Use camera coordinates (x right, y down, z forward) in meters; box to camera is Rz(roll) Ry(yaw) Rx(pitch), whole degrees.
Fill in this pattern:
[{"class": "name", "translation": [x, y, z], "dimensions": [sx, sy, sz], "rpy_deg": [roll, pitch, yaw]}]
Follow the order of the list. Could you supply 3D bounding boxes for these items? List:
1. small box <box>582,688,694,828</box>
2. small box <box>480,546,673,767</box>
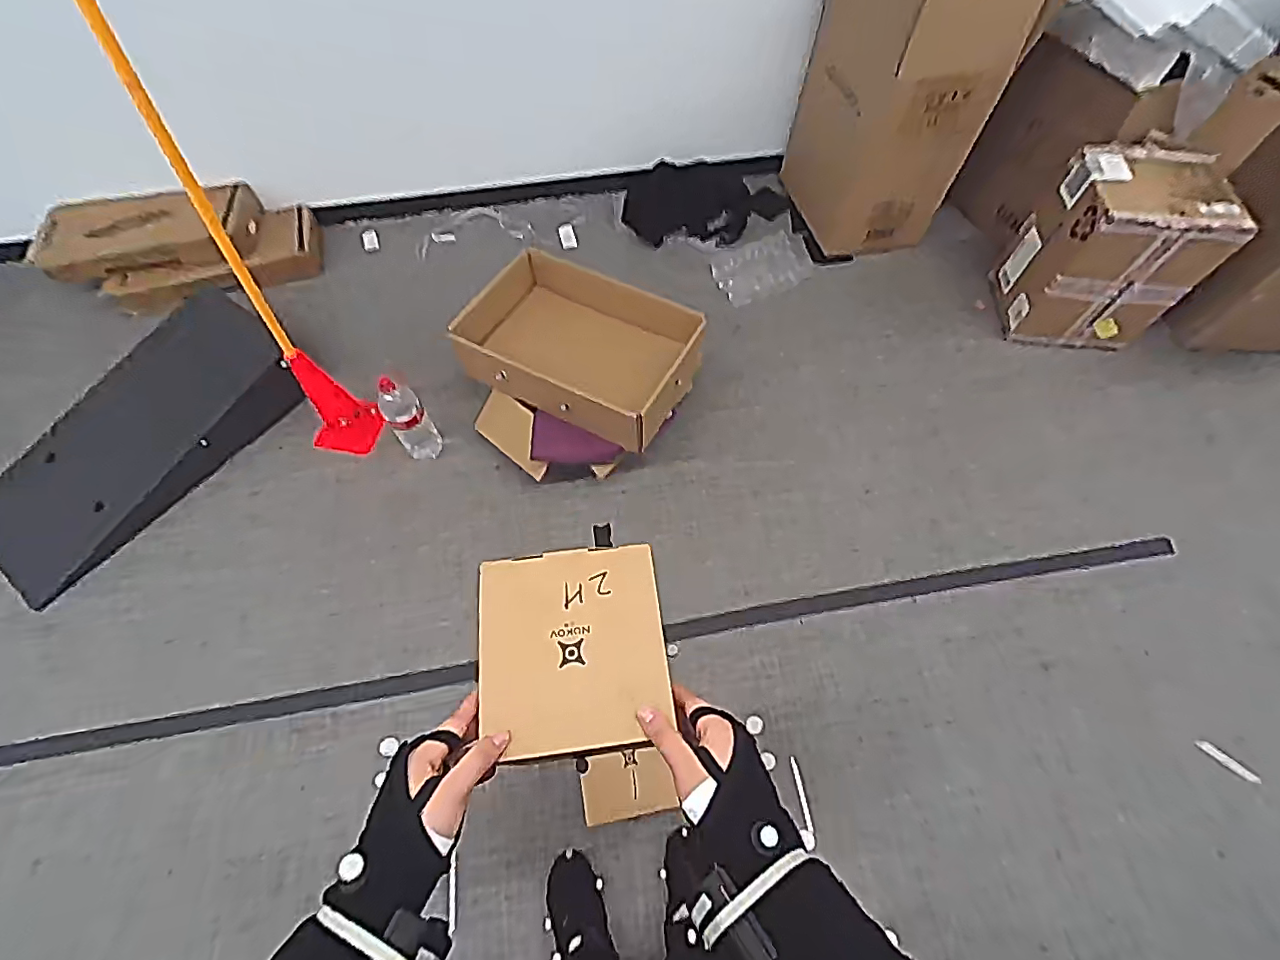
[{"class": "small box", "translation": [-0.012, 0.475, 0.927], "dimensions": [0.168, 0.176, 0.179], "rpy_deg": [-10, 61, -5]}, {"class": "small box", "translation": [-0.061, 0.187, 0.558], "dimensions": [0.168, 0.176, 0.179], "rpy_deg": [-7, 61, -4]}]
